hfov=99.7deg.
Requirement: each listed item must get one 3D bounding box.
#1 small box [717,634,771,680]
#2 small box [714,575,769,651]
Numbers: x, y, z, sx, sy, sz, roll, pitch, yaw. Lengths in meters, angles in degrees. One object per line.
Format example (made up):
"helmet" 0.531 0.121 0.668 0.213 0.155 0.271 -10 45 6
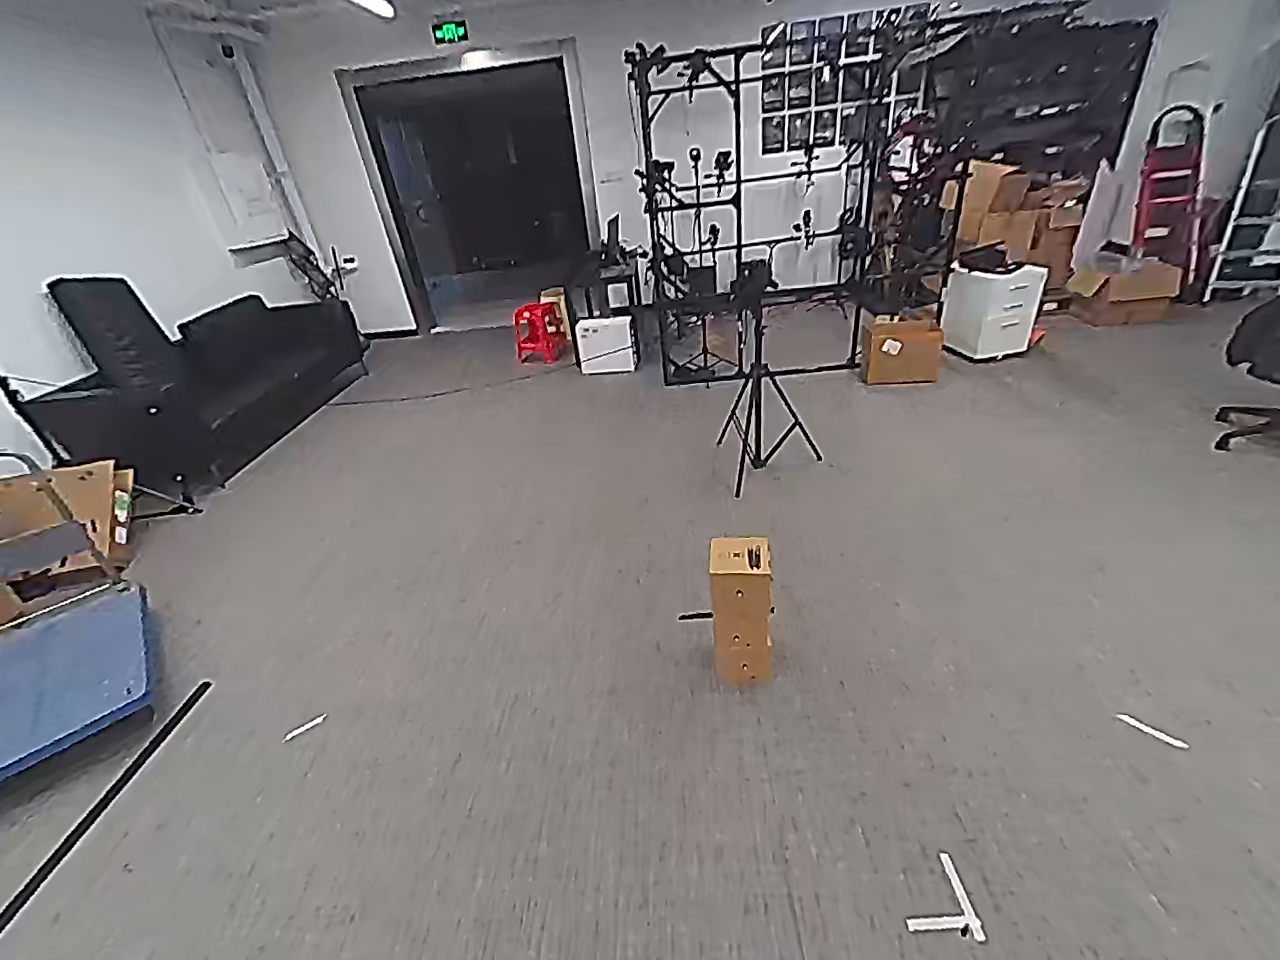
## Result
"small box" 0.349 0.563 1.836 0.168 0.176 0.179 -5 30 3
"small box" 0.326 0.427 1.749 0.168 0.176 0.179 -2 32 9
